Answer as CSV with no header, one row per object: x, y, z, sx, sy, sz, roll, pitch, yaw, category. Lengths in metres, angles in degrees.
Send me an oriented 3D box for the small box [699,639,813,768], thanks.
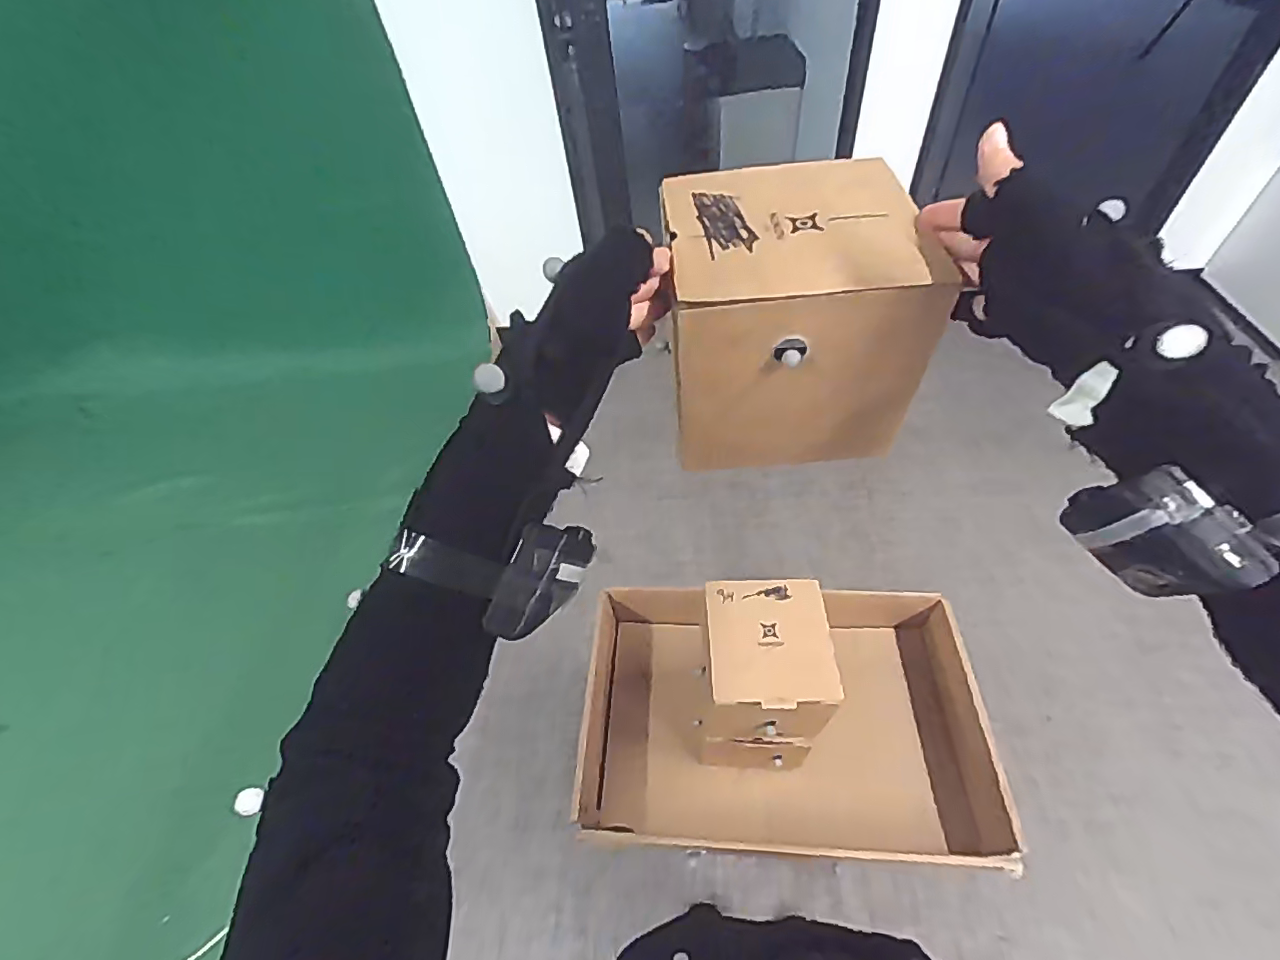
0.186,0.374,0.915,0.168,0.176,0.179,1,49,5,small box

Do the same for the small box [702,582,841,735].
0.179,0.265,0.793,0.168,0.176,0.179,-1,52,3,small box

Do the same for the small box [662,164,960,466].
0.113,-0.125,0.439,0.179,0.176,0.168,-4,54,3,small box
